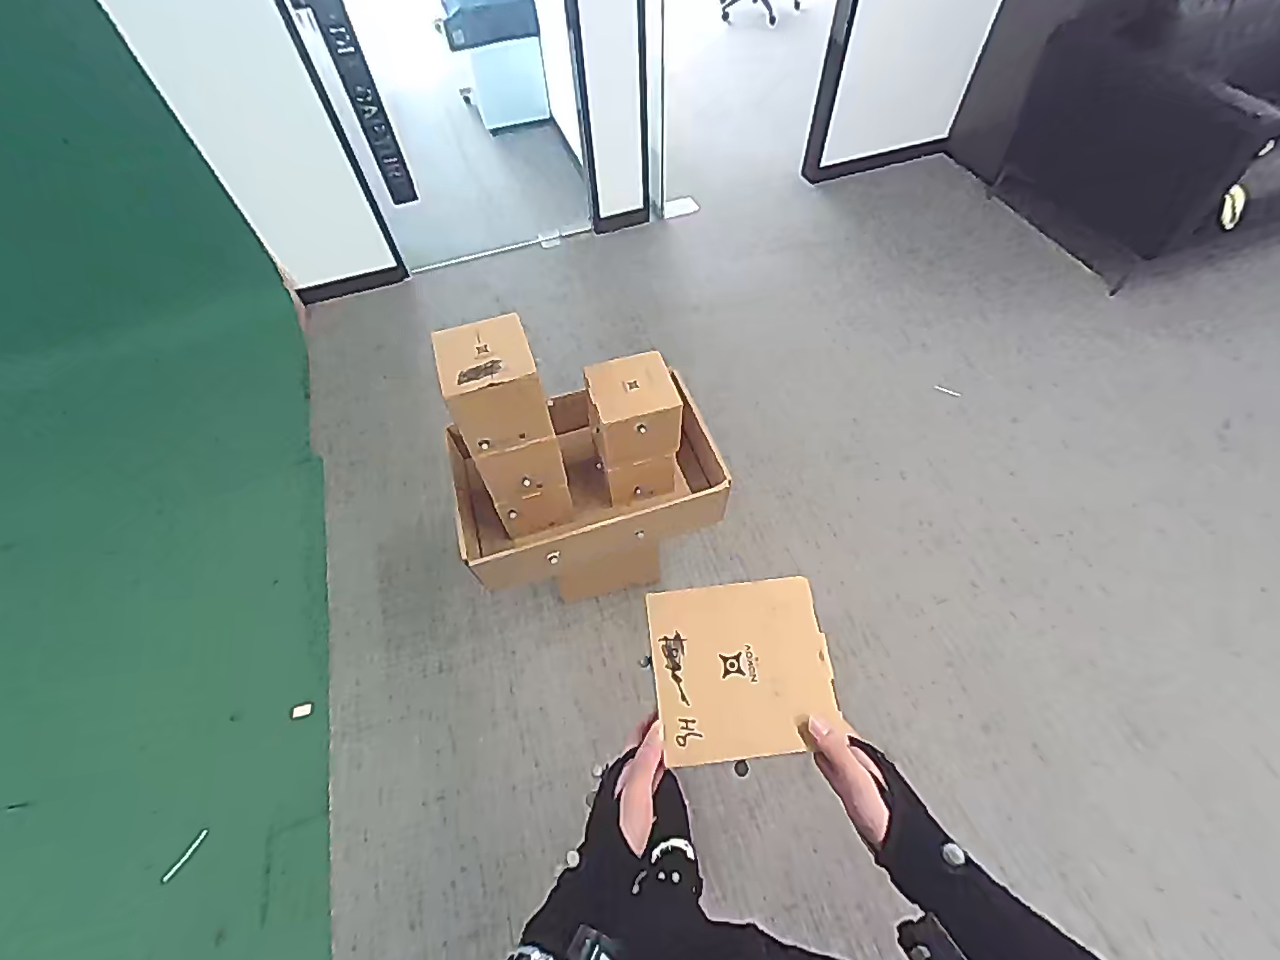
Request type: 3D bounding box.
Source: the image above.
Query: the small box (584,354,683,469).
[{"bbox_3d":[-0.014,-0.146,1.193,0.179,0.176,0.168,-14,58,-9],"label":"small box"}]

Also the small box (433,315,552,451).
[{"bbox_3d":[-0.272,-0.174,1.018,0.168,0.176,0.179,-17,56,-10],"label":"small box"}]

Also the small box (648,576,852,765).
[{"bbox_3d":[0.103,0.216,0.598,0.179,0.176,0.168,-5,61,-2],"label":"small box"}]

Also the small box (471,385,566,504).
[{"bbox_3d":[-0.264,-0.078,1.151,0.168,0.176,0.179,-16,57,-9],"label":"small box"}]
